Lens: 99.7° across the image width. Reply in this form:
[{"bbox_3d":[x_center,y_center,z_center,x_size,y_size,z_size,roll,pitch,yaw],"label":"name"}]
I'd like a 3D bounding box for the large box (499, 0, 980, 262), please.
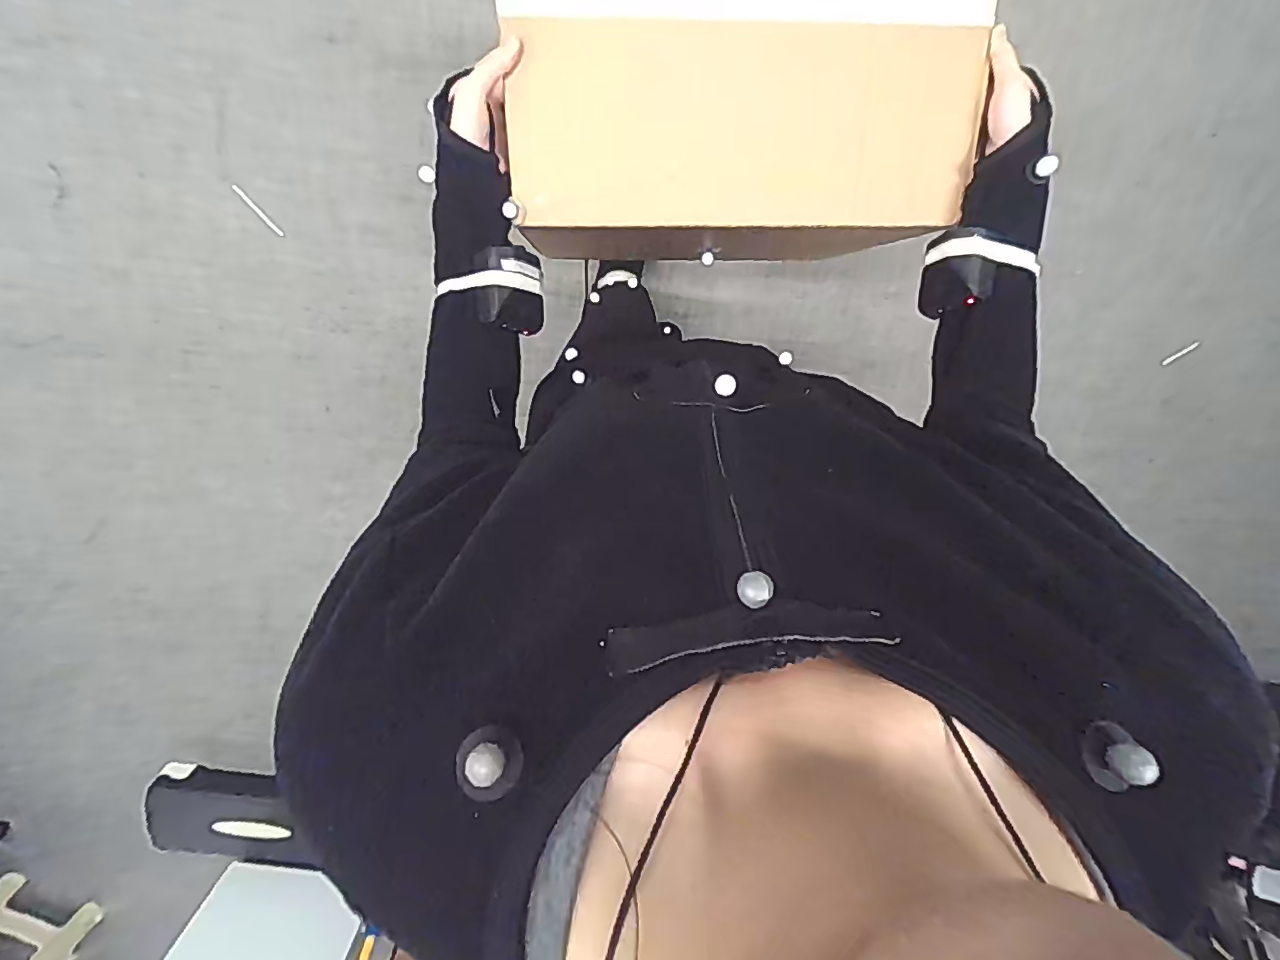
[{"bbox_3d":[0.079,-0.419,0.589,0.408,0.320,0.320,-2,106,-3],"label":"large box"}]
